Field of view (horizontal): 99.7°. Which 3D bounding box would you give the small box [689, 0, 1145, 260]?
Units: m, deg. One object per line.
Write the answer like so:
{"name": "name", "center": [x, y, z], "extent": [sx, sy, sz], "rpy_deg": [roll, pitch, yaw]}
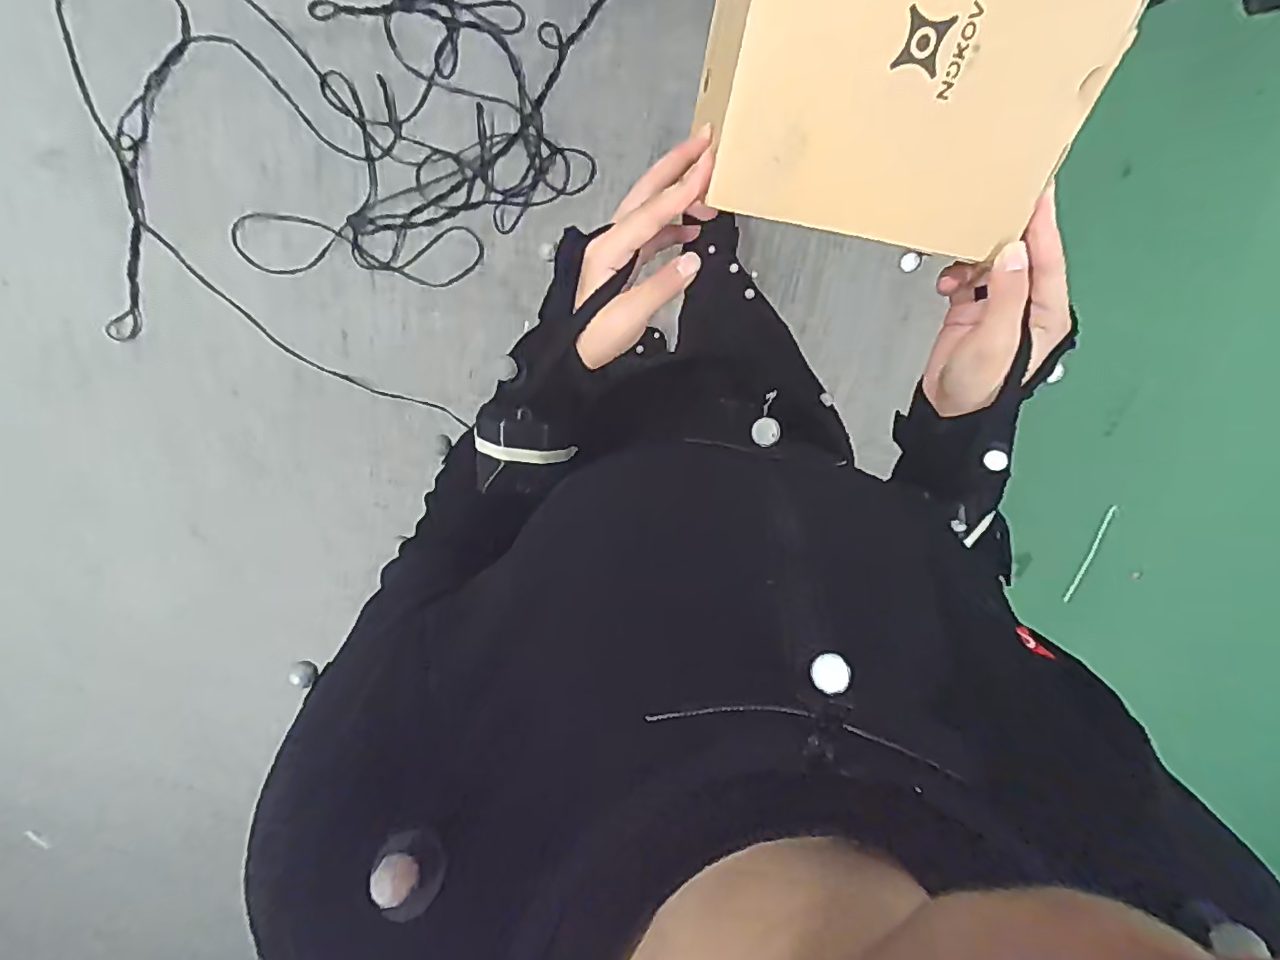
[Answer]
{"name": "small box", "center": [0.132, -0.242, 0.314], "extent": [0.179, 0.176, 0.168], "rpy_deg": [7, 123, -7]}
